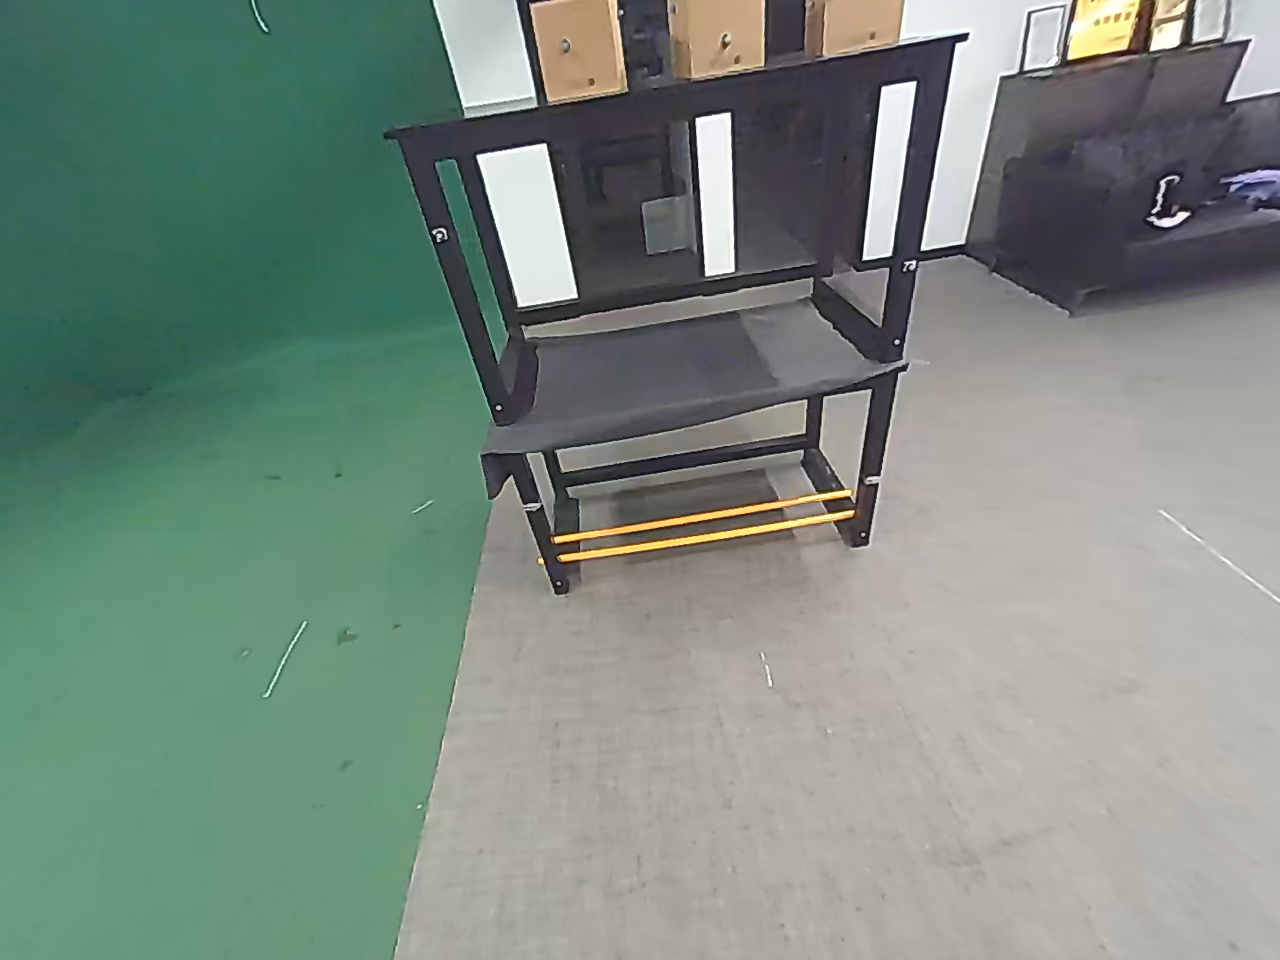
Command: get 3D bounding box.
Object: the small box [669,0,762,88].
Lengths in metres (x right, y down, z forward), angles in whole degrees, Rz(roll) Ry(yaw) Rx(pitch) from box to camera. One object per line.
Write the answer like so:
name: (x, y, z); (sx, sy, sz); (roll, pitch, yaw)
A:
small box: (0.165, -0.986, 1.205); (0.168, 0.176, 0.179); (-13, 37, -3)

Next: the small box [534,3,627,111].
small box: (-0.125, -0.949, 1.224); (0.168, 0.176, 0.179); (-4, 37, 7)
